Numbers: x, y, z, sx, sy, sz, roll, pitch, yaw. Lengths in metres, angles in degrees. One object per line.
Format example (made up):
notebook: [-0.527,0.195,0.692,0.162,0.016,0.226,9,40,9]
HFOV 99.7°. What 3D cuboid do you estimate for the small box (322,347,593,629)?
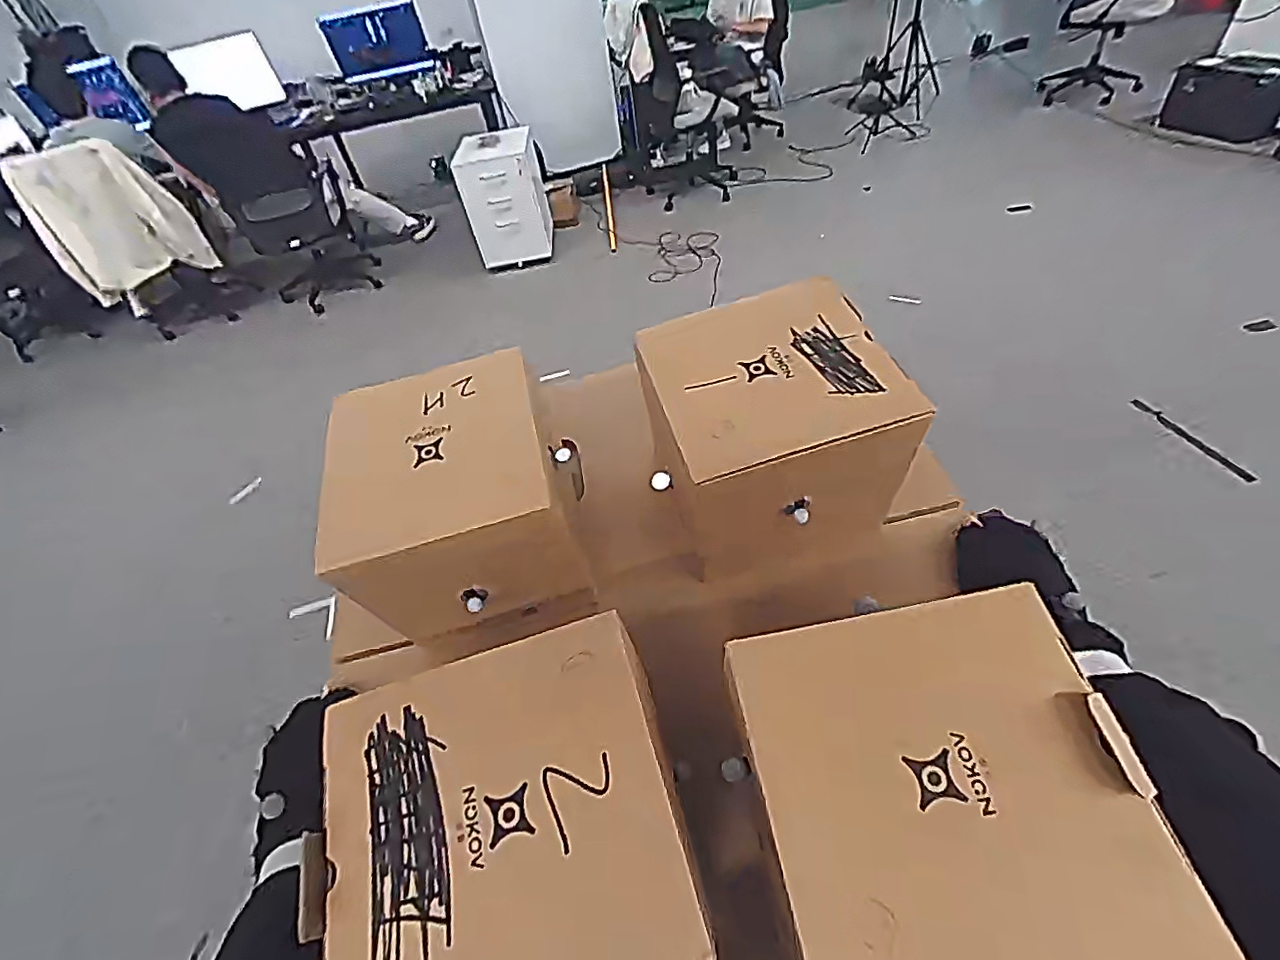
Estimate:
small box: [-0.148,0.018,0.484,0.168,0.176,0.179,-15,54,-2]

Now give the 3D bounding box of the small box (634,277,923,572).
small box: [0.106,-0.041,0.481,0.179,0.176,0.168,-17,55,-1]
